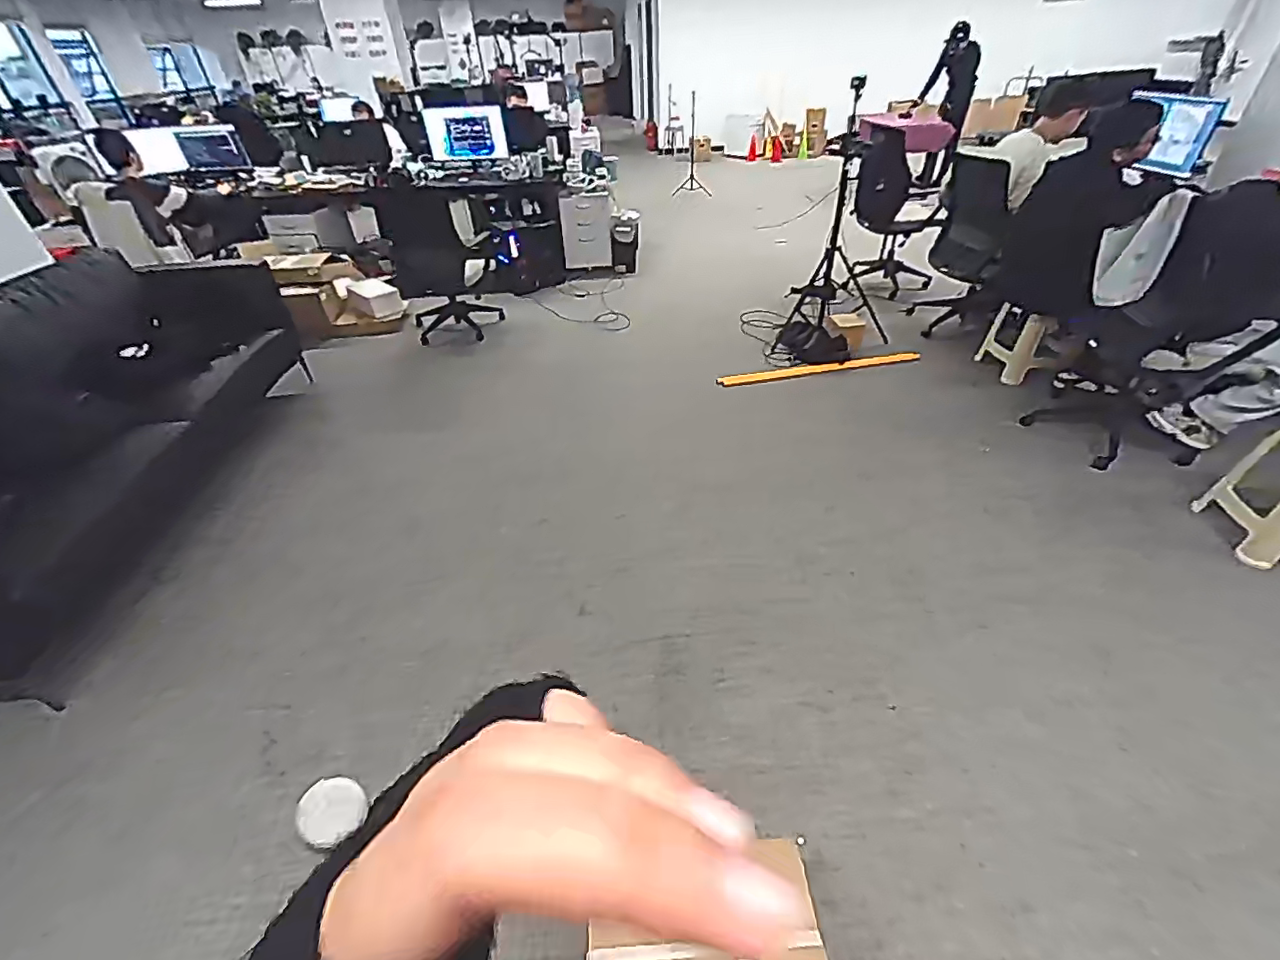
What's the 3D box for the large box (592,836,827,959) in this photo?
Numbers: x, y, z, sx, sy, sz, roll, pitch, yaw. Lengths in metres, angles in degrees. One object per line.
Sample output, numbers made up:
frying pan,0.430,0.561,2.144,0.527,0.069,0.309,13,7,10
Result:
large box,0.121,0.921,1.021,0.408,0.320,0.320,-4,38,-1
